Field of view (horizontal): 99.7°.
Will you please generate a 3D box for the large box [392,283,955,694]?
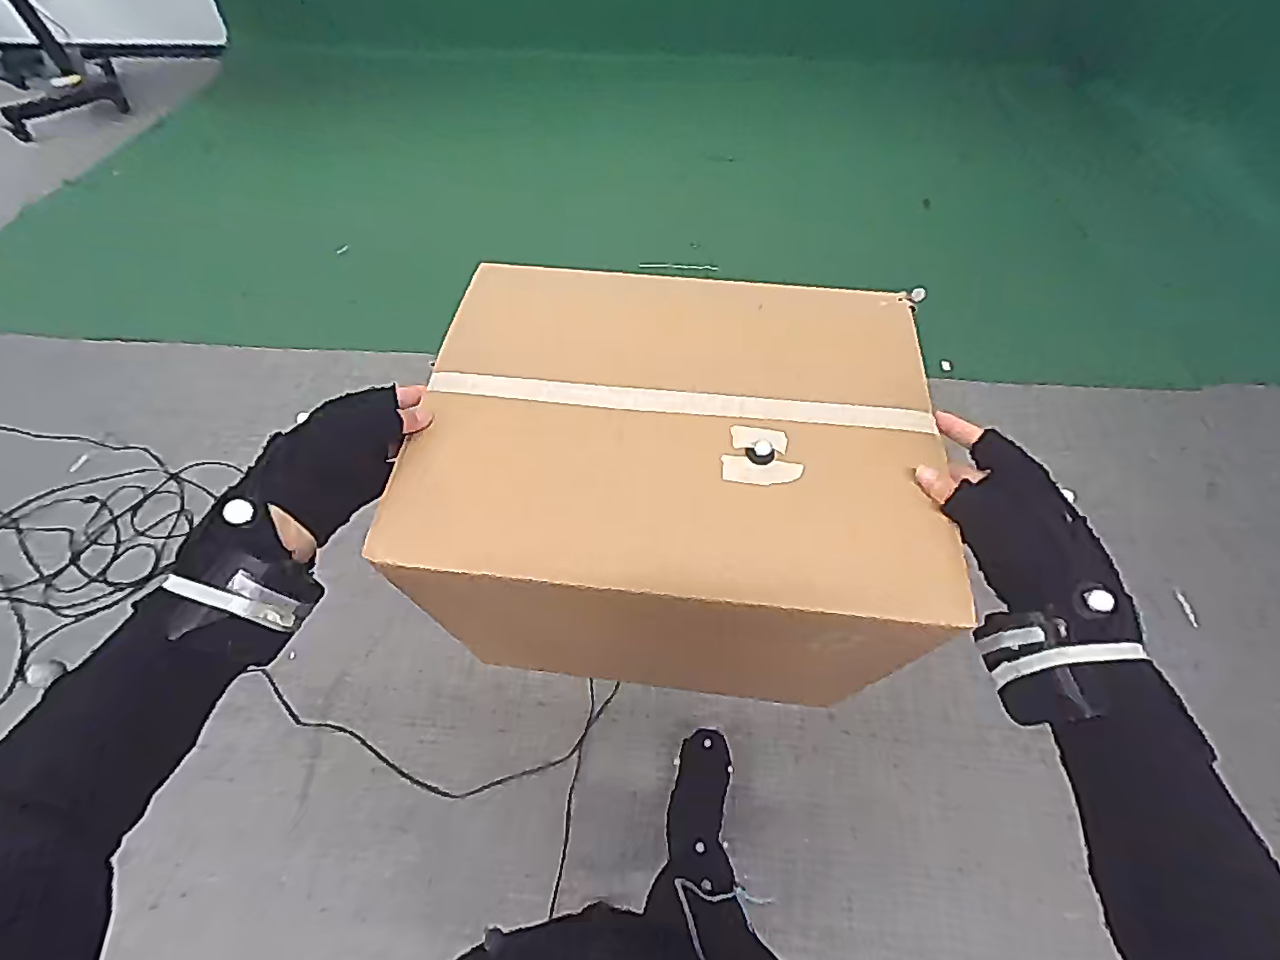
[{"bbox_3d":[0.032,0.023,0.578,0.408,0.320,0.320,5,59,4],"label":"large box"}]
